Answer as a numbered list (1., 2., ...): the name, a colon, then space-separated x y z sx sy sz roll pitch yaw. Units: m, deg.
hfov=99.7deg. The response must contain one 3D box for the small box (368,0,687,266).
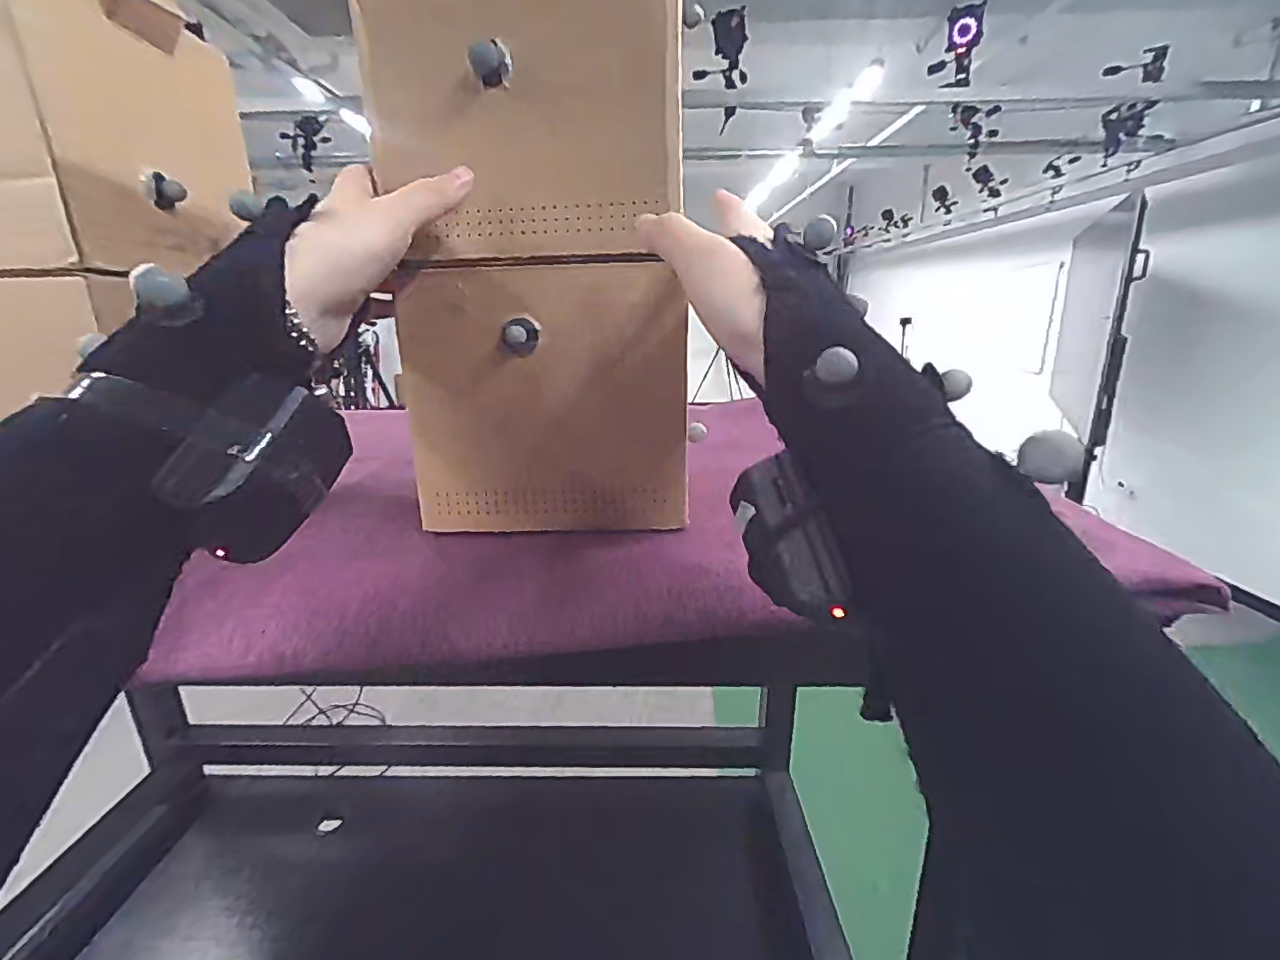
1. small box: -0.059 -0.225 0.375 0.179 0.176 0.168 -1 14 3

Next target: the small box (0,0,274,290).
1. small box: -0.384 -0.209 0.351 0.179 0.176 0.168 -1 16 -2

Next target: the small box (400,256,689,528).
1. small box: -0.053 -0.065 0.415 0.179 0.176 0.168 0 14 2

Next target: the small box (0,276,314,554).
1. small box: -0.376 -0.052 0.394 0.179 0.176 0.168 -2 16 0
